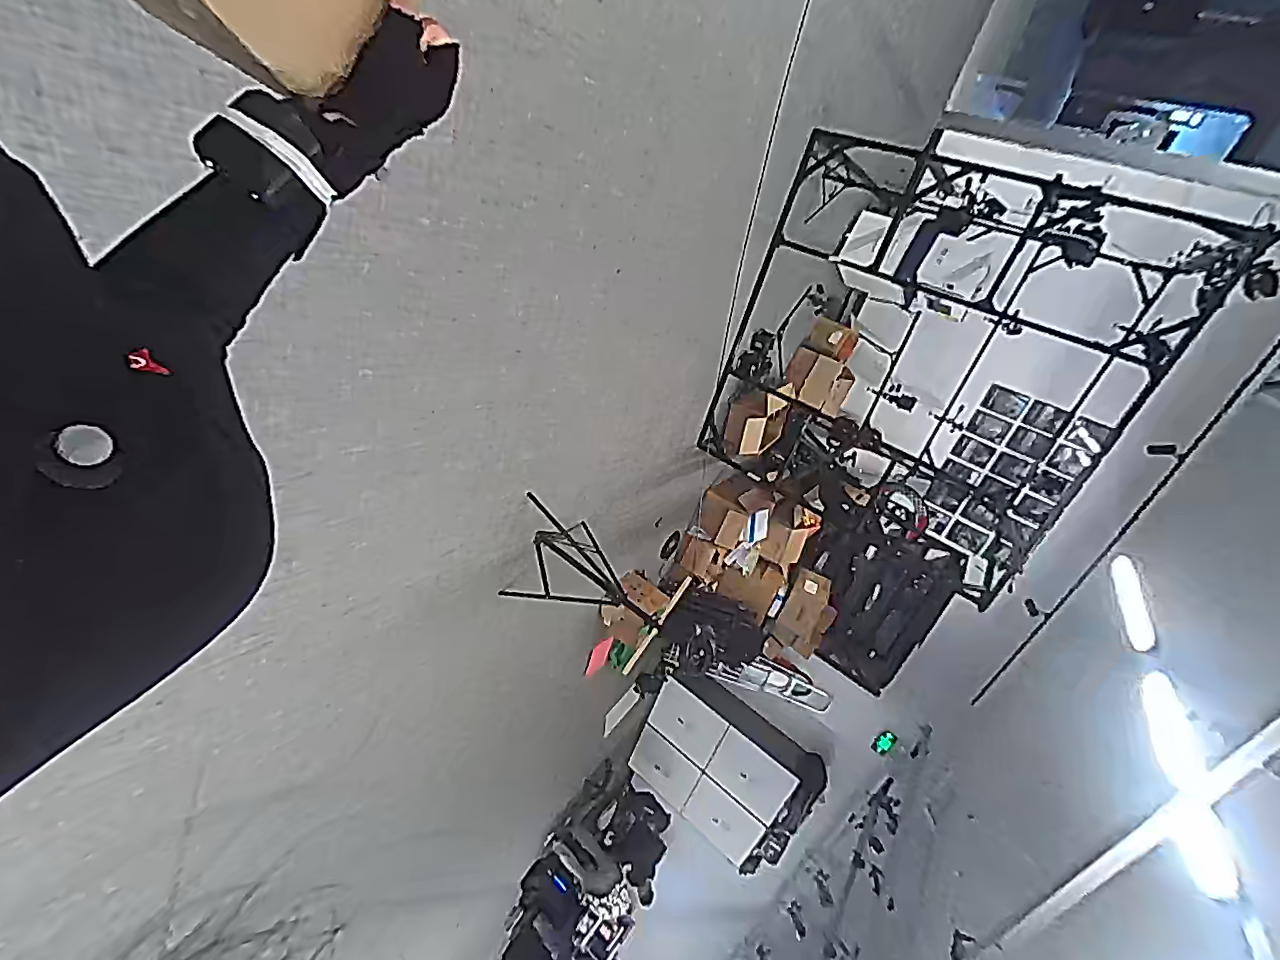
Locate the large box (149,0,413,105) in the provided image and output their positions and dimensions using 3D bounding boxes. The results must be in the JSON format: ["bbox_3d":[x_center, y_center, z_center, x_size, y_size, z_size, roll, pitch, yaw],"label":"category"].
[{"bbox_3d":[-0.324,-0.544,0.301,0.320,0.320,0.408,-50,159,-2],"label":"large box"}]
